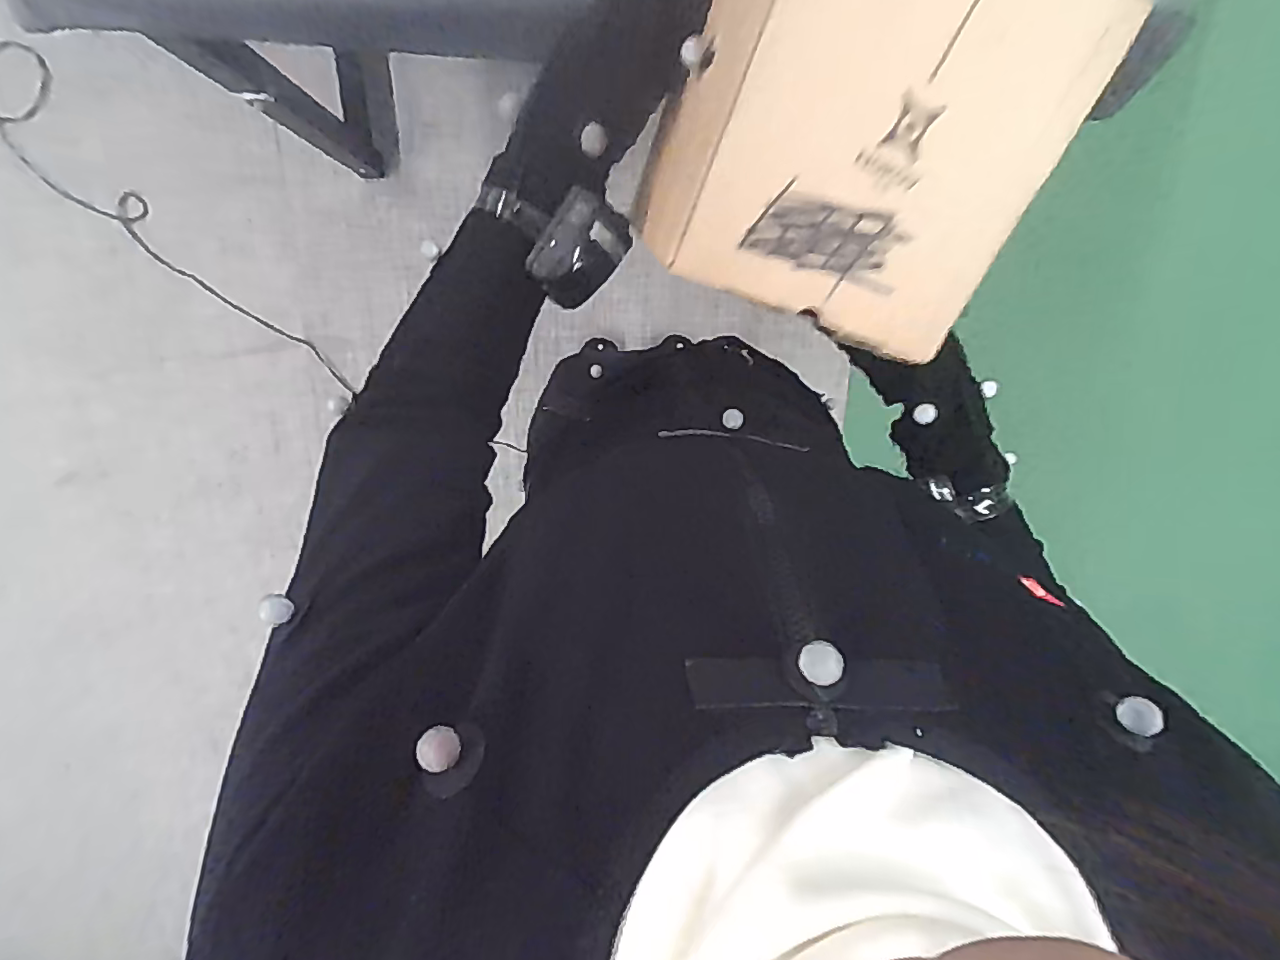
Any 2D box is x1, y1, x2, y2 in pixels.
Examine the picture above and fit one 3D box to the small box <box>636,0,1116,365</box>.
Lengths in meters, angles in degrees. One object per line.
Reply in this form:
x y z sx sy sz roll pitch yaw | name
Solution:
0.105 -0.201 0.330 0.168 0.176 0.179 15 119 -19 | small box
